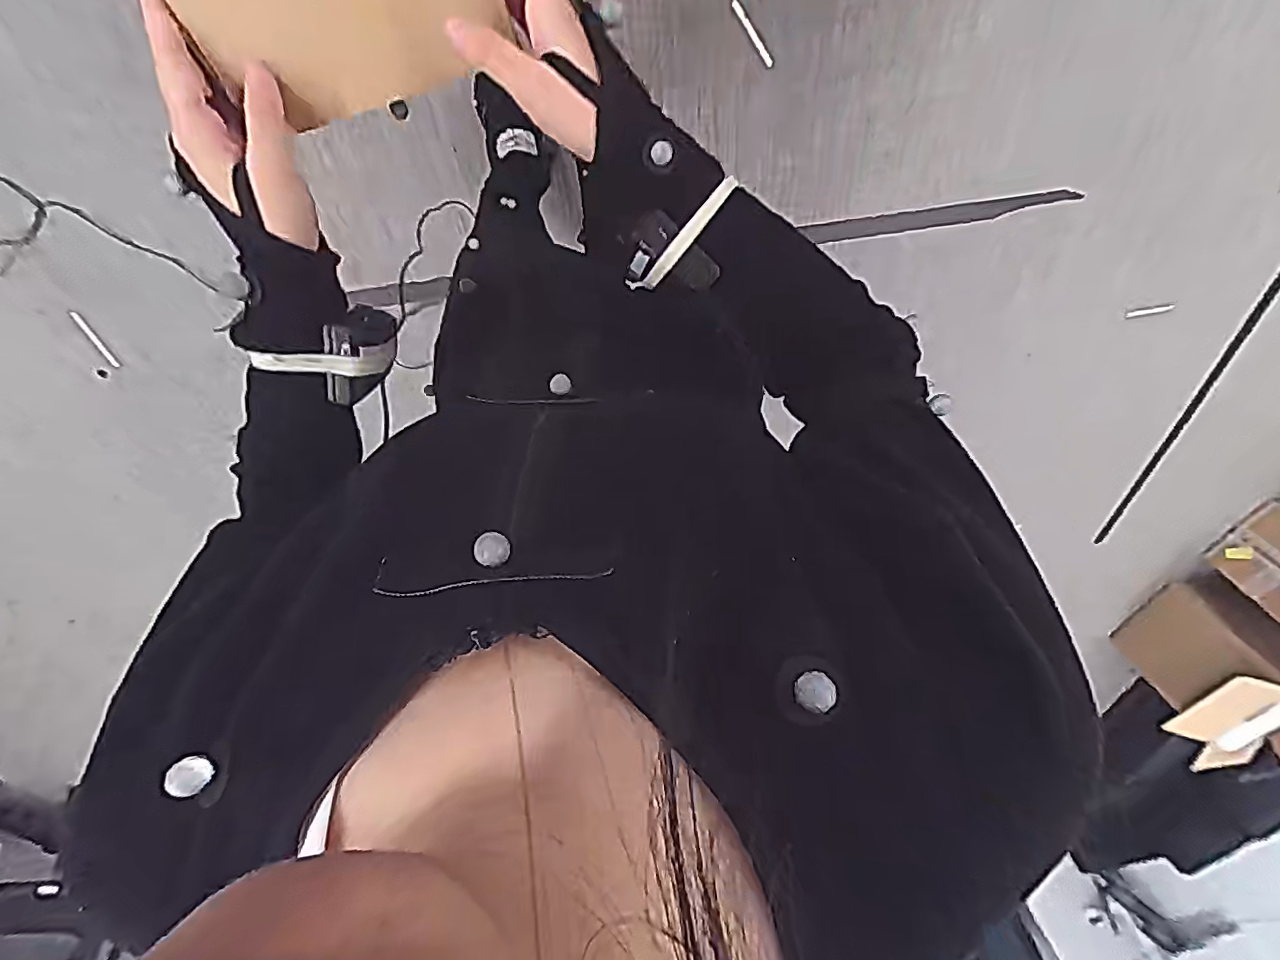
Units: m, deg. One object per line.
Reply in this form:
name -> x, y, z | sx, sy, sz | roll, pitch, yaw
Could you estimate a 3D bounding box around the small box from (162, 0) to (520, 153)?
small box -> -0.189, -0.338, 0.336 | 0.179, 0.176, 0.168 | -20, 136, 2
